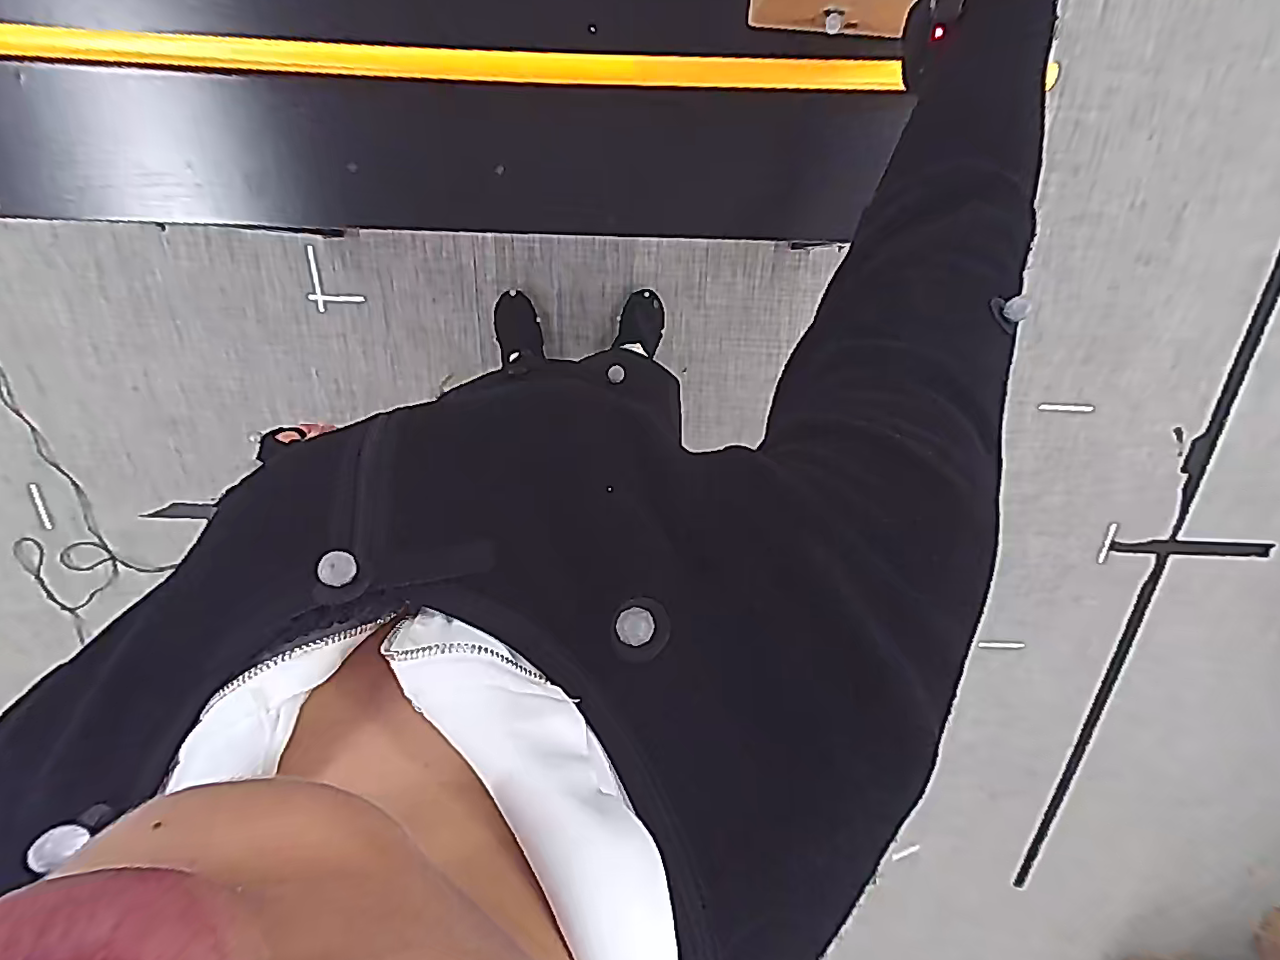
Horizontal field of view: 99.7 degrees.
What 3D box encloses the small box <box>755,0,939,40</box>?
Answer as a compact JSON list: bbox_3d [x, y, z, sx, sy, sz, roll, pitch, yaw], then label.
[{"bbox_3d":[0.206,-0.531,0.472,0.168,0.176,0.179,3,112,-2],"label":"small box"}]
